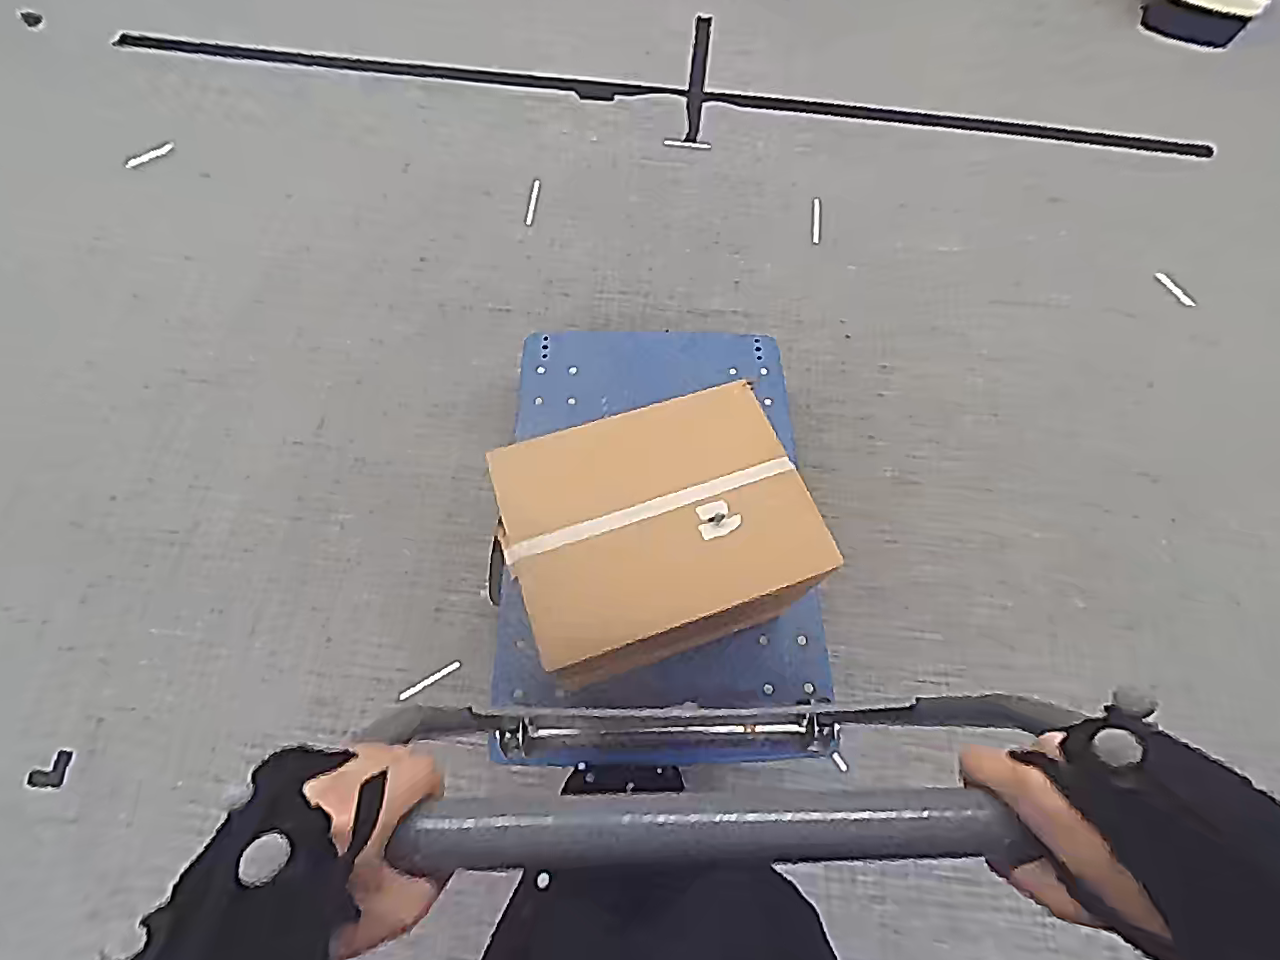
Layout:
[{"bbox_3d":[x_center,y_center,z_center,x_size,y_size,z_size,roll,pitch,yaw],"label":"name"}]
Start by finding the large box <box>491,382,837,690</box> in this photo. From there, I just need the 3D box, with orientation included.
[{"bbox_3d":[0.017,0.101,0.867,0.408,0.320,0.320,-17,67,-12],"label":"large box"}]
